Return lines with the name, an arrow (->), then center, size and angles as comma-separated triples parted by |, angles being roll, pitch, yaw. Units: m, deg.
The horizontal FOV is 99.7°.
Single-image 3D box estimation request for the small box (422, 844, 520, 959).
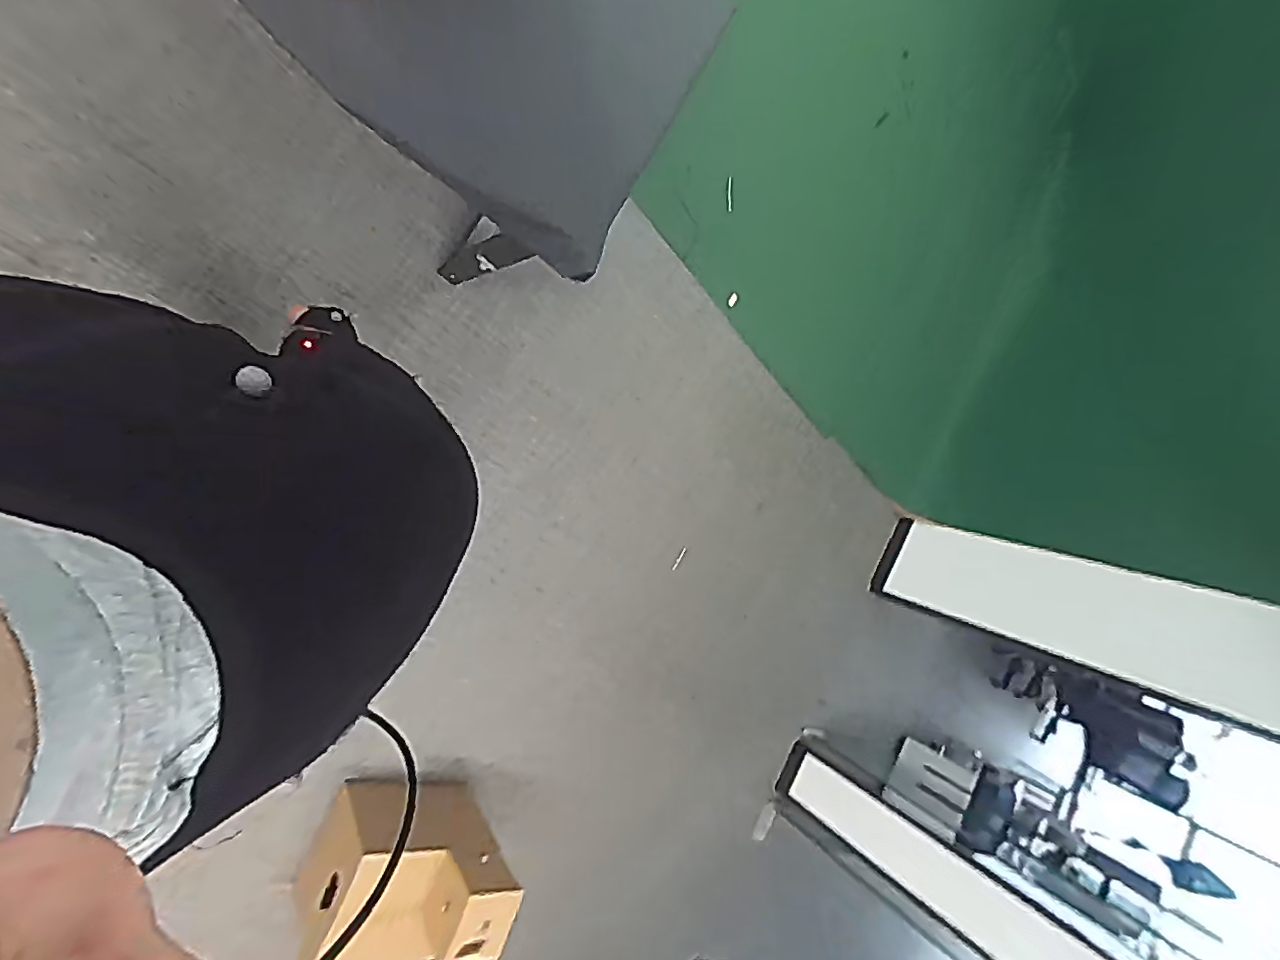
small box -> -0.452, 1.106, 1.430 | 0.168, 0.176, 0.179 | 30, 78, -38
